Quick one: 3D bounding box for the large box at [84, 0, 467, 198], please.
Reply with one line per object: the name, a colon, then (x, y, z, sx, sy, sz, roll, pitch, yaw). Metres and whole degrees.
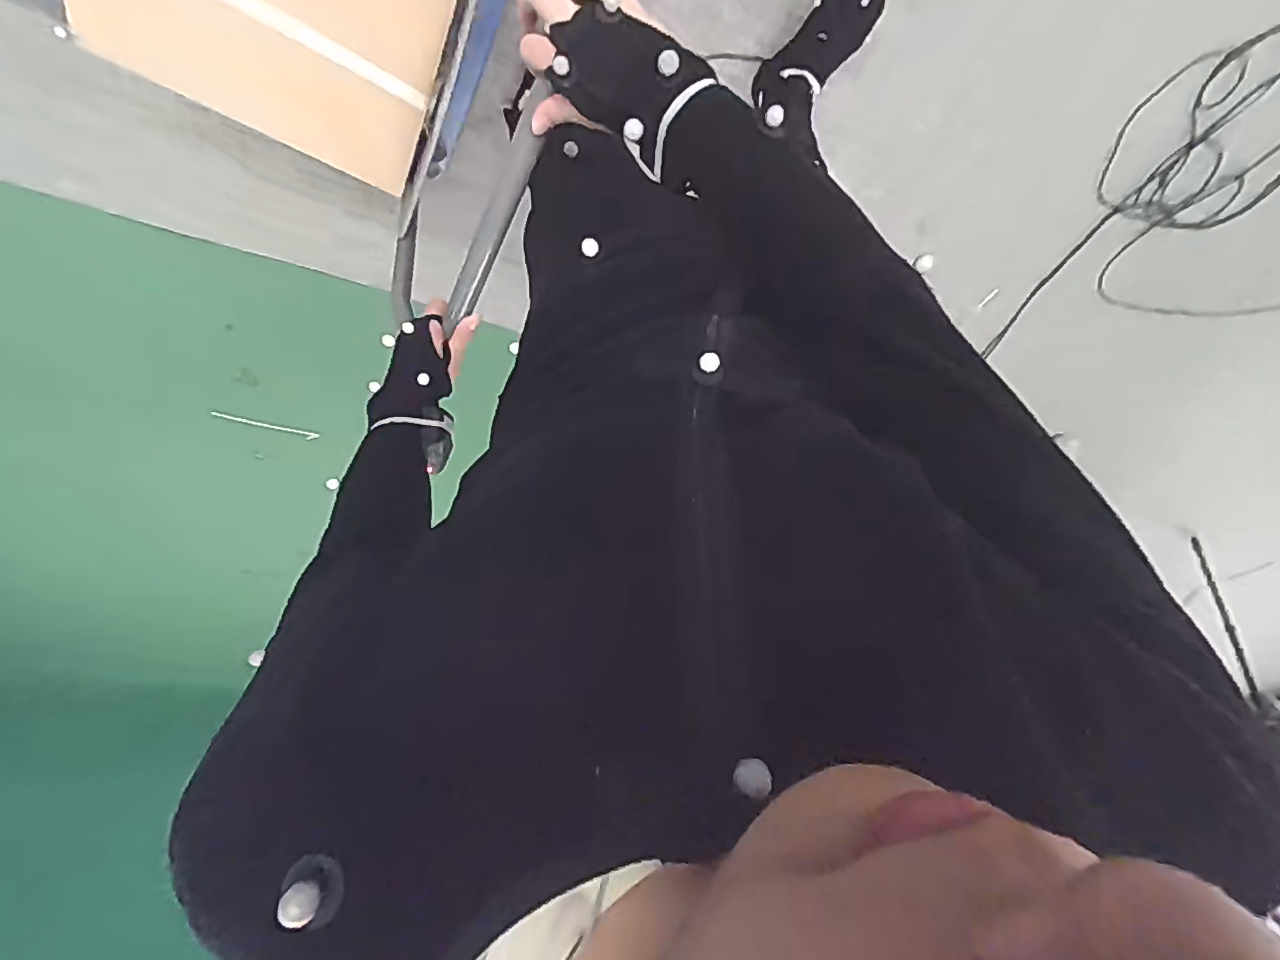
large box: (-0.487, -0.710, 0.794, 0.408, 0.320, 0.320, 16, 135, -29)
